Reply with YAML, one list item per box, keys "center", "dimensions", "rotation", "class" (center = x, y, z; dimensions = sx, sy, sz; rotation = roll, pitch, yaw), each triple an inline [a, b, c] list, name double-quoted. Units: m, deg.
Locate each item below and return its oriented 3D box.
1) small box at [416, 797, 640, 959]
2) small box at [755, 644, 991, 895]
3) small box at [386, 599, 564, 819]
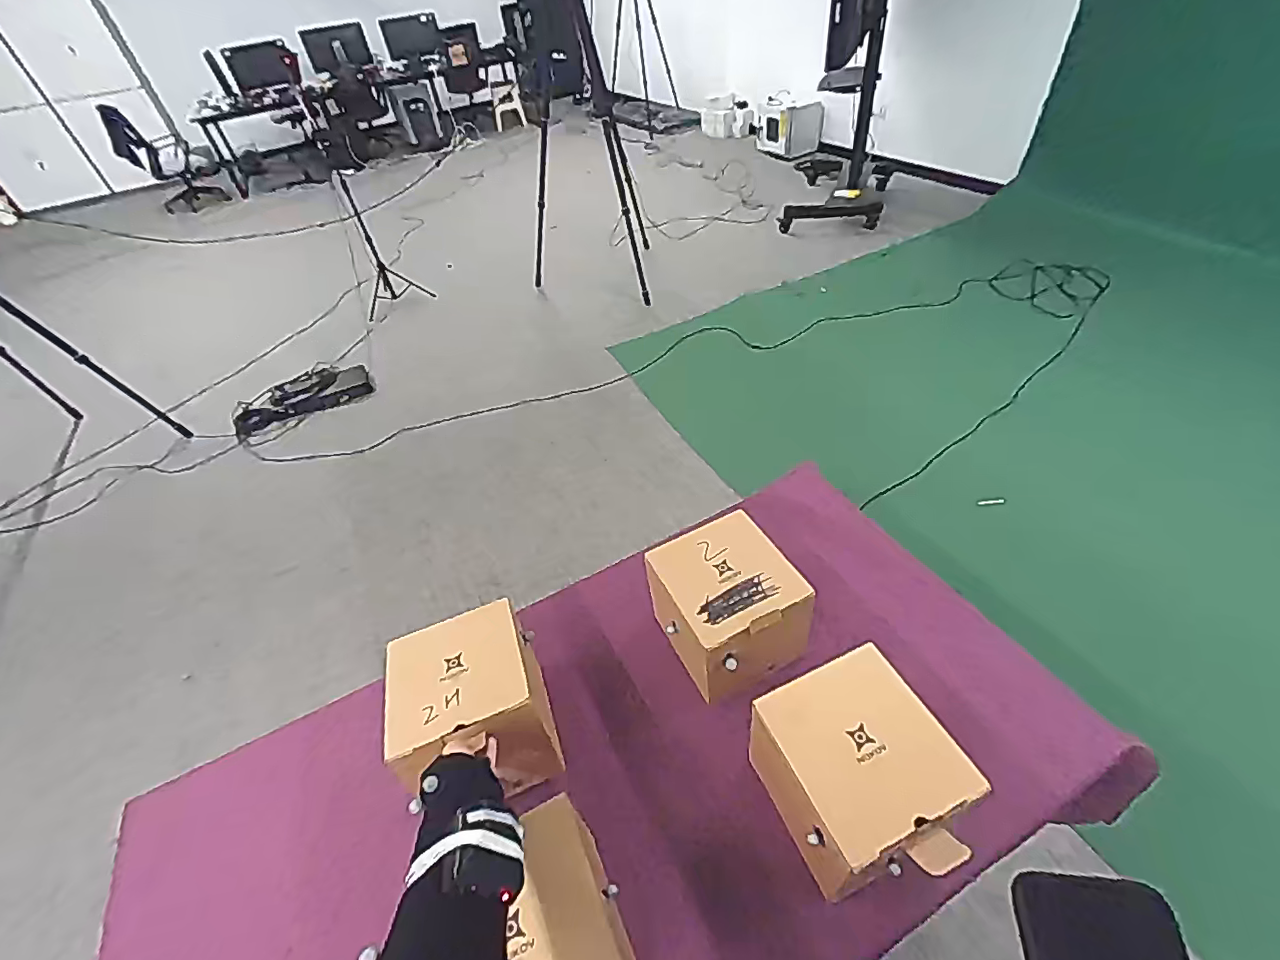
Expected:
- center: [-0.102, 0.466, 0.542]
  dimensions: [0.168, 0.176, 0.179]
  rotation: [-22, 45, -13]
  class: "small box"
- center: [0.243, 0.330, 0.620]
  dimensions: [0.168, 0.176, 0.179]
  rotation: [-21, 46, -12]
  class: "small box"
- center: [-0.212, 0.297, 0.712]
  dimensions: [0.168, 0.176, 0.179]
  rotation: [-20, 36, -10]
  class: "small box"
